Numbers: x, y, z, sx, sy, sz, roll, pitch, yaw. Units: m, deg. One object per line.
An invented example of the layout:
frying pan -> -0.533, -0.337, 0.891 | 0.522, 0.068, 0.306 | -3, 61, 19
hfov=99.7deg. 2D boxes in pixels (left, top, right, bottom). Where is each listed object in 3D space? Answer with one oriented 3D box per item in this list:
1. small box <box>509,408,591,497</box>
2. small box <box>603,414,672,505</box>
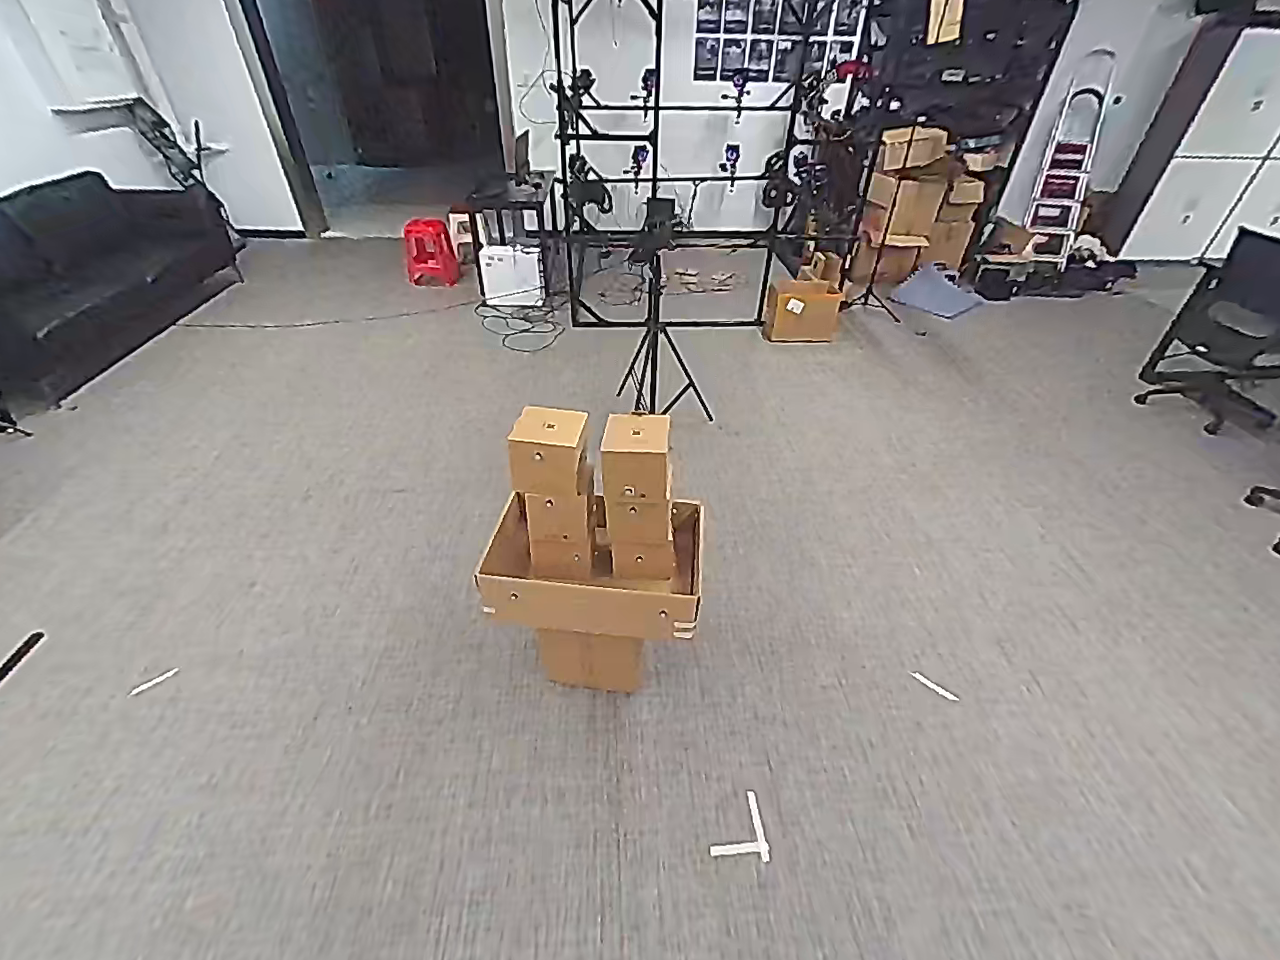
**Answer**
small box -> -0.231, -0.071, 1.436 | 0.179, 0.176, 0.168 | 6, 38, 3
small box -> -0.003, -0.055, 1.419 | 0.168, 0.176, 0.179 | 2, 38, 5
